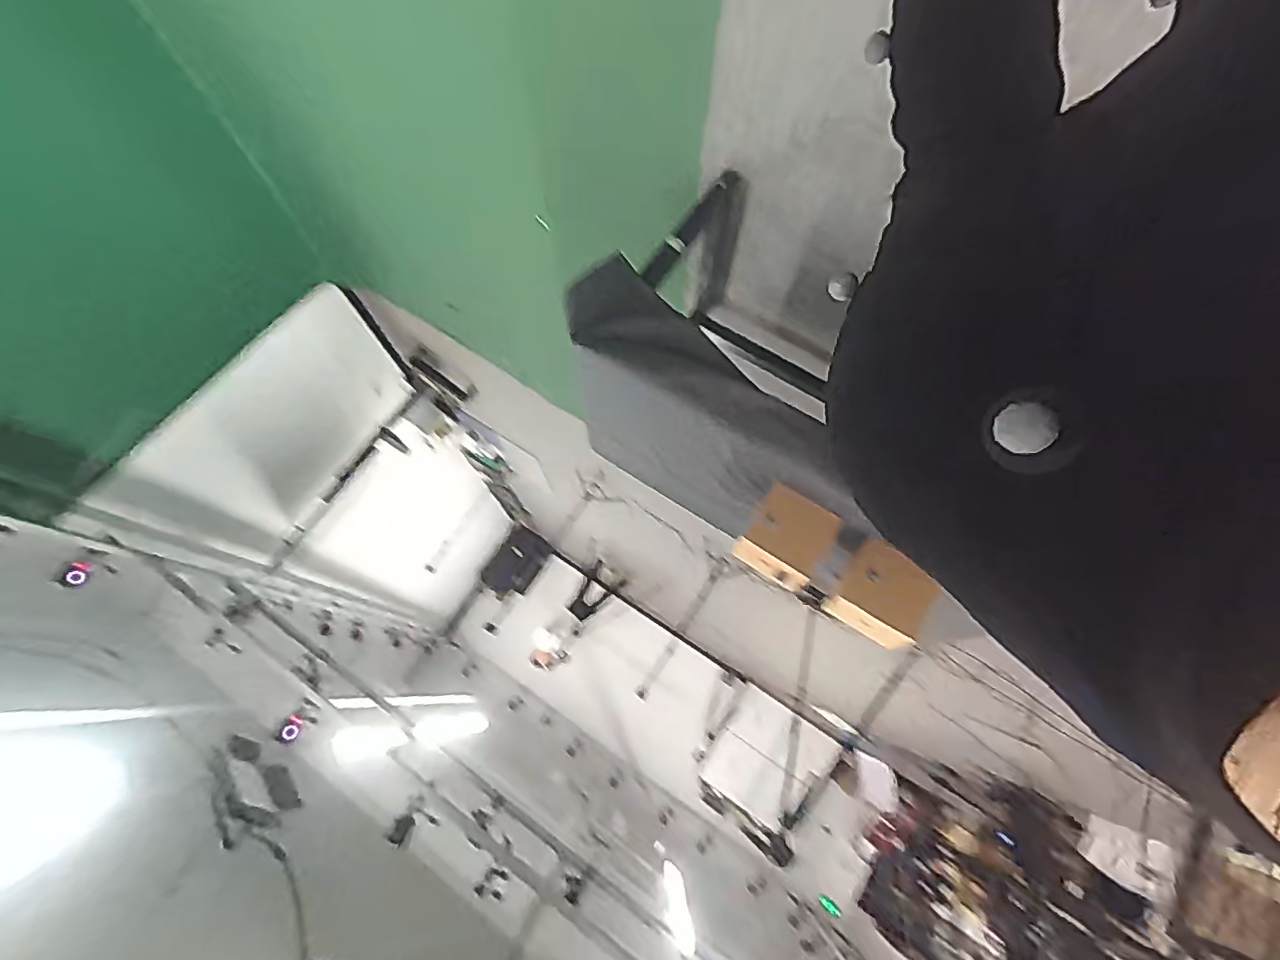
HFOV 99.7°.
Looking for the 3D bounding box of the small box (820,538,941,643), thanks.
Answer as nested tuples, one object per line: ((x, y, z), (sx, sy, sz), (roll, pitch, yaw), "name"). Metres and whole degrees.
((0.552, 0.250, 1.249), (0.179, 0.176, 0.168), (30, 163, 15), "small box")
